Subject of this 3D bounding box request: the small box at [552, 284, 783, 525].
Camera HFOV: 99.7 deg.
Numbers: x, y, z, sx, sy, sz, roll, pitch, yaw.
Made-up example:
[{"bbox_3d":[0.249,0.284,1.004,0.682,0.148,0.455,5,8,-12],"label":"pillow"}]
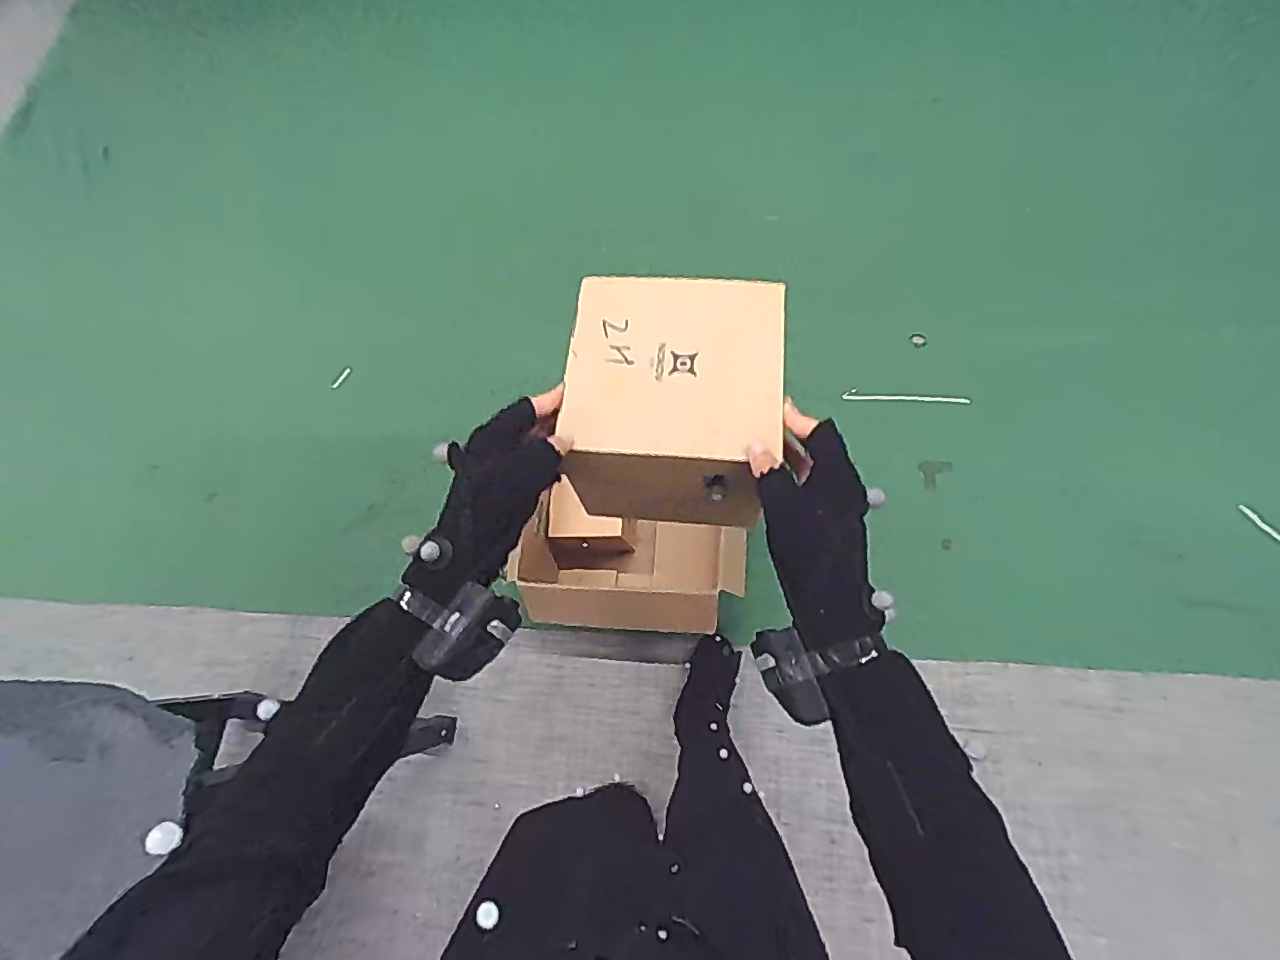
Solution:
[{"bbox_3d":[0.032,-0.061,0.513,0.179,0.176,0.168,4,68,7],"label":"small box"}]
